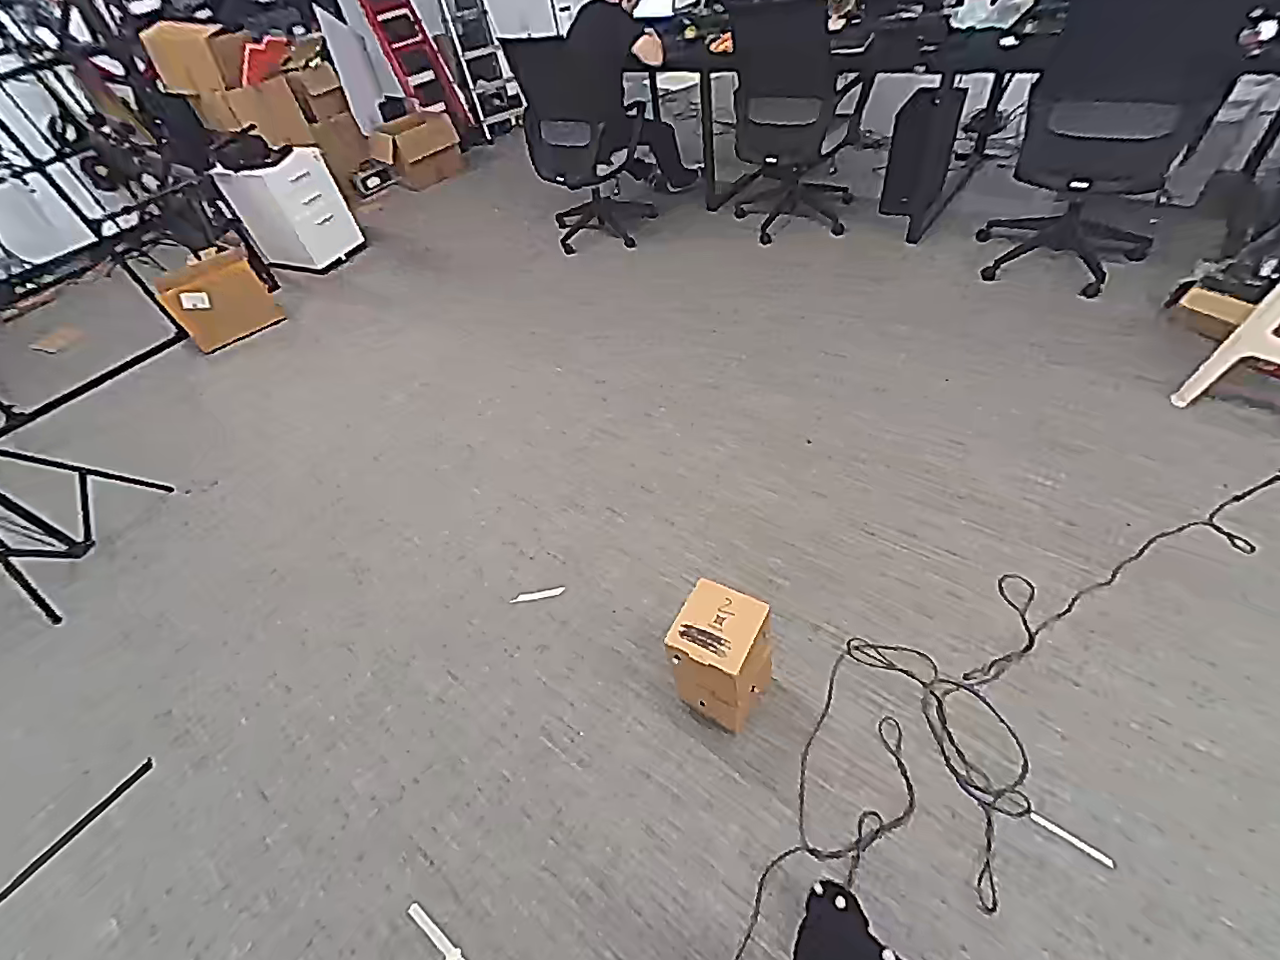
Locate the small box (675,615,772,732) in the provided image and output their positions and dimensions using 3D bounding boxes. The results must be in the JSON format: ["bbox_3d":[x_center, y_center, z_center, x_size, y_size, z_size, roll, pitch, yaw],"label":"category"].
[{"bbox_3d":[0.205,0.467,1.294,0.168,0.176,0.179,24,57,29],"label":"small box"}]
